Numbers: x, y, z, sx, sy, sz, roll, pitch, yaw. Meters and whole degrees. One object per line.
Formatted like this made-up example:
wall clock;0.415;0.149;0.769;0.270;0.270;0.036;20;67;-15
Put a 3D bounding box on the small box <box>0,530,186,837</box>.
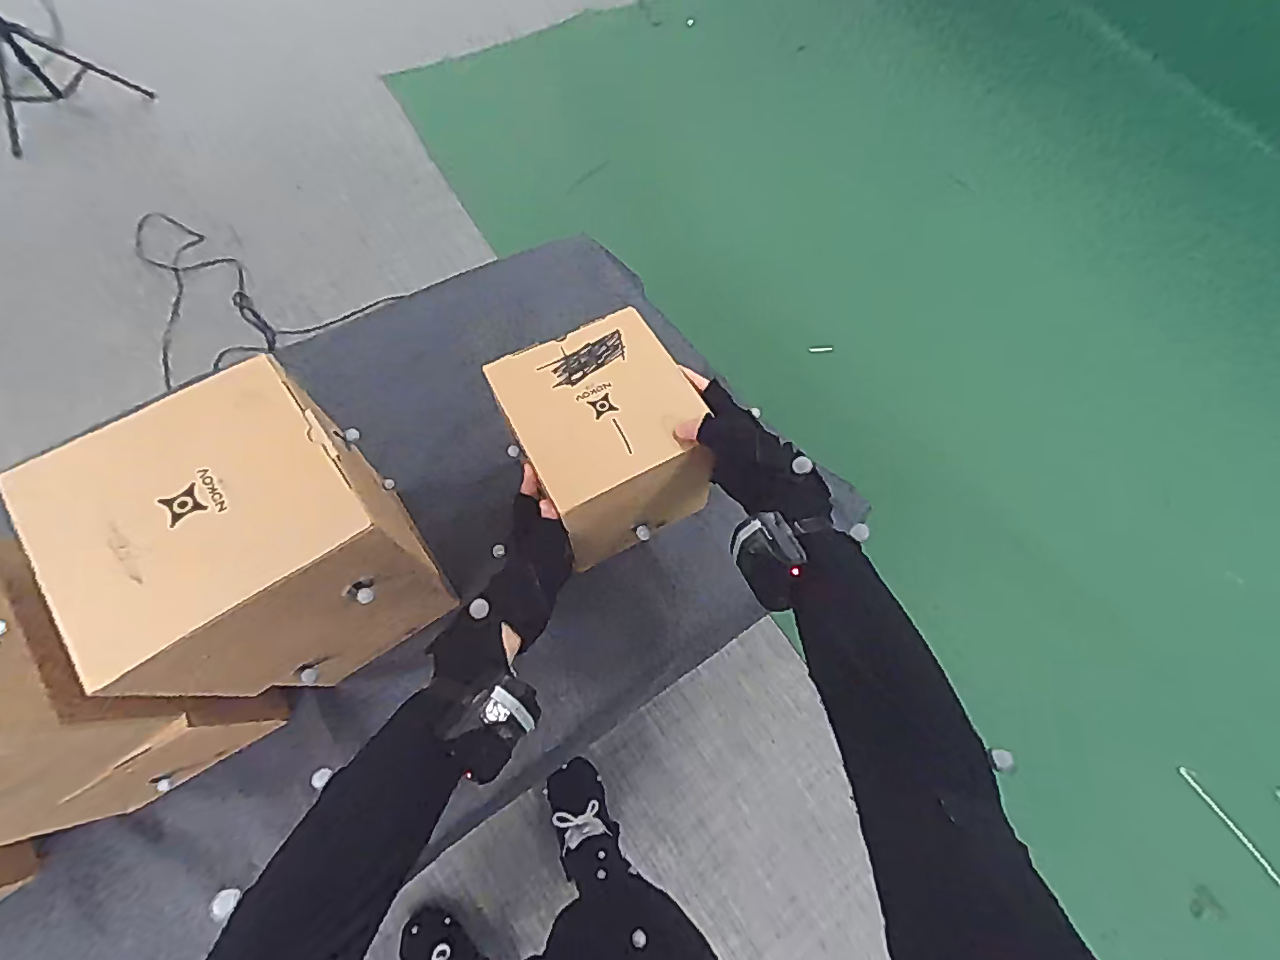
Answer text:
small box;-0.479;0.149;0.366;0.179;0.176;0.168;-37;78;-17
